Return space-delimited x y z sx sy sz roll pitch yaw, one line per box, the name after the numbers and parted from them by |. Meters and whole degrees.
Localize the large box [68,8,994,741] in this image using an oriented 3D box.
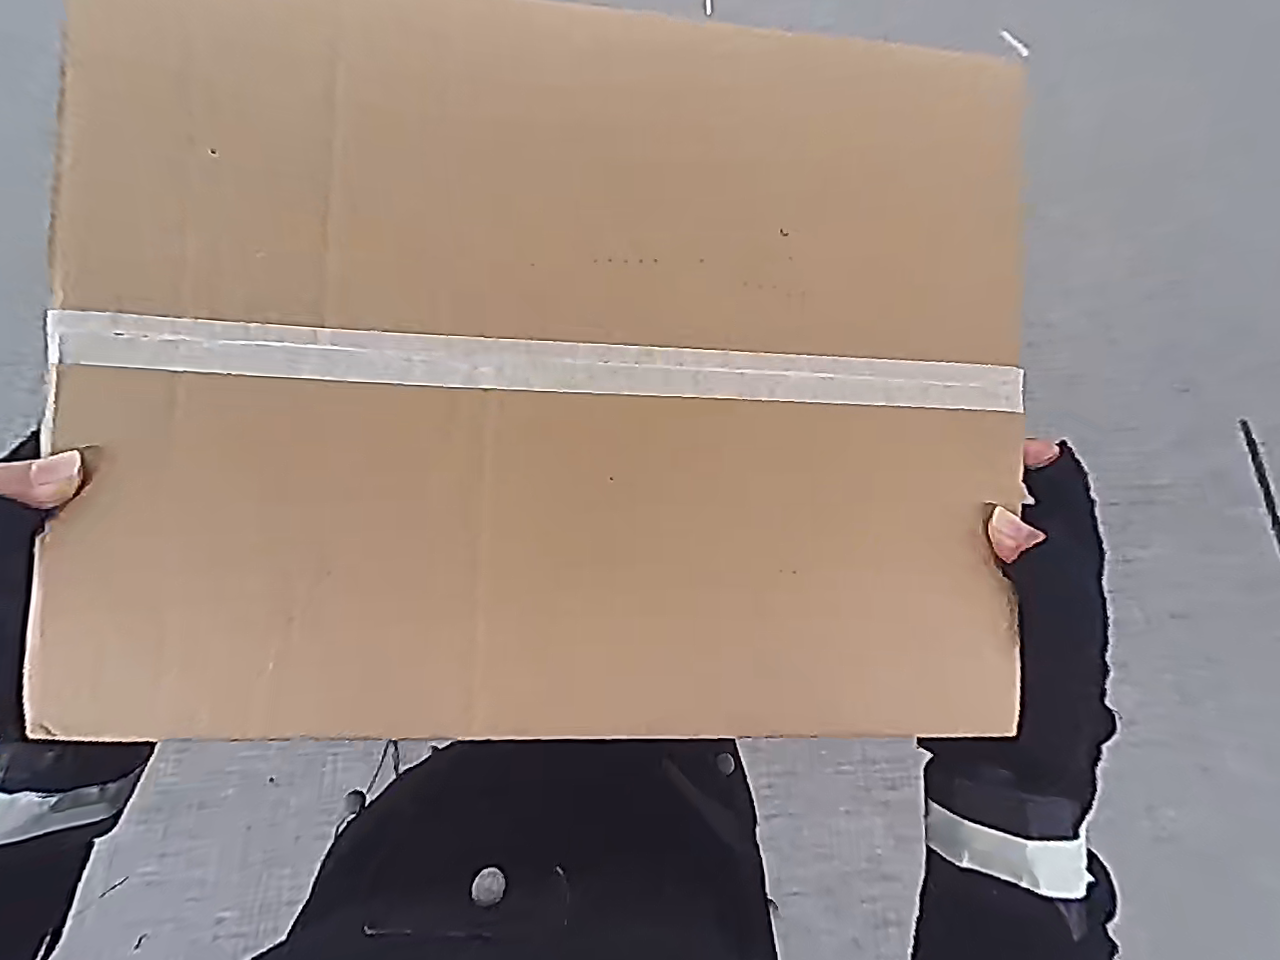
-0.043 -0.040 0.389 0.408 0.320 0.320 2 88 -5 | large box
